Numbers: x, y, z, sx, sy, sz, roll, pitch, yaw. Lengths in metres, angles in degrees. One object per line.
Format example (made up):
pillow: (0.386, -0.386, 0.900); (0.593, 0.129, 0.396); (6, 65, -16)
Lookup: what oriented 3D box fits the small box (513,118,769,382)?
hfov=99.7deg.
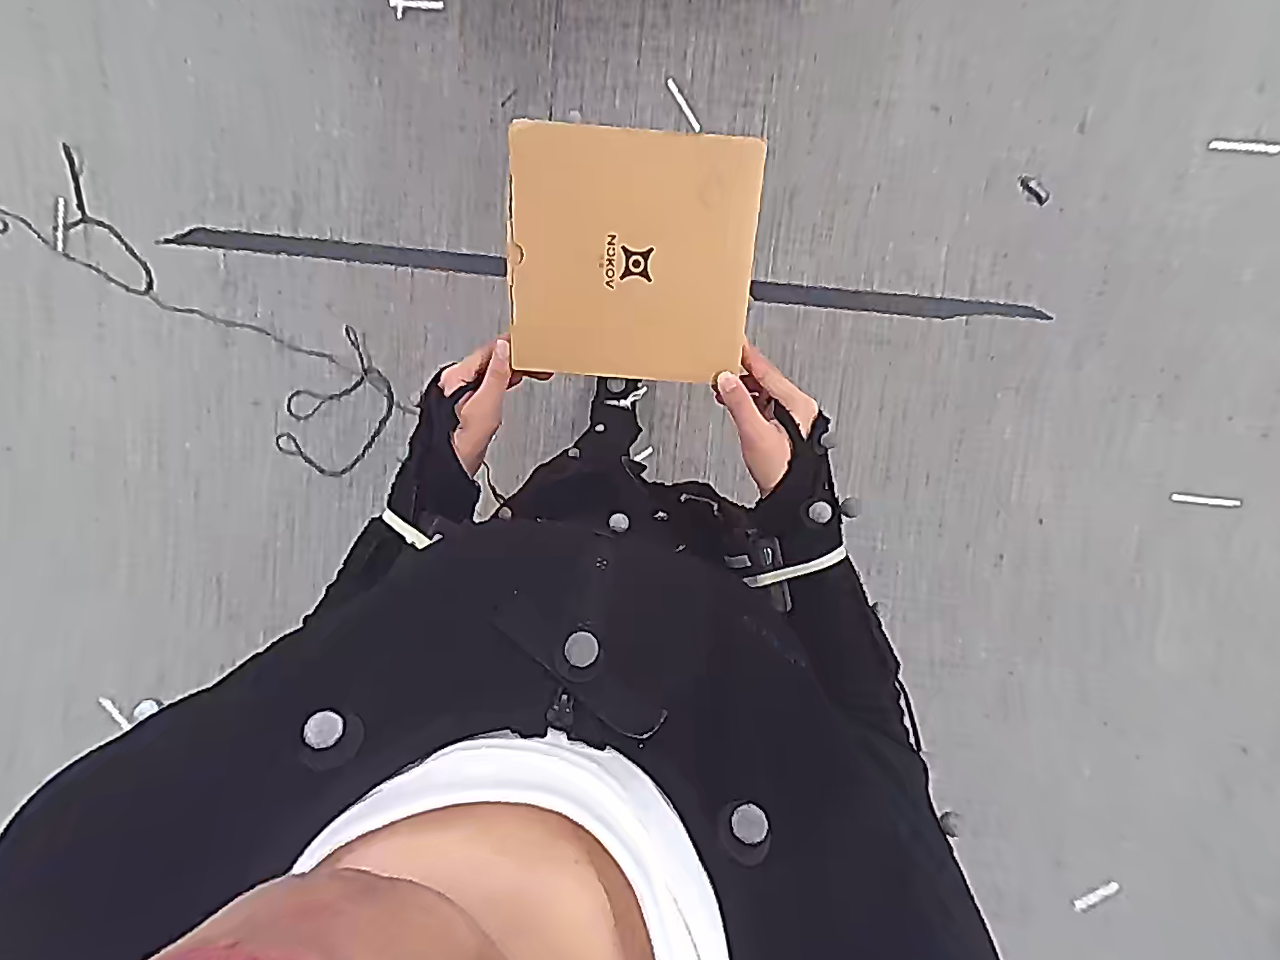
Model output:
small box: (-0.002, -0.185, 0.462); (0.179, 0.176, 0.168); (5, 109, 2)
